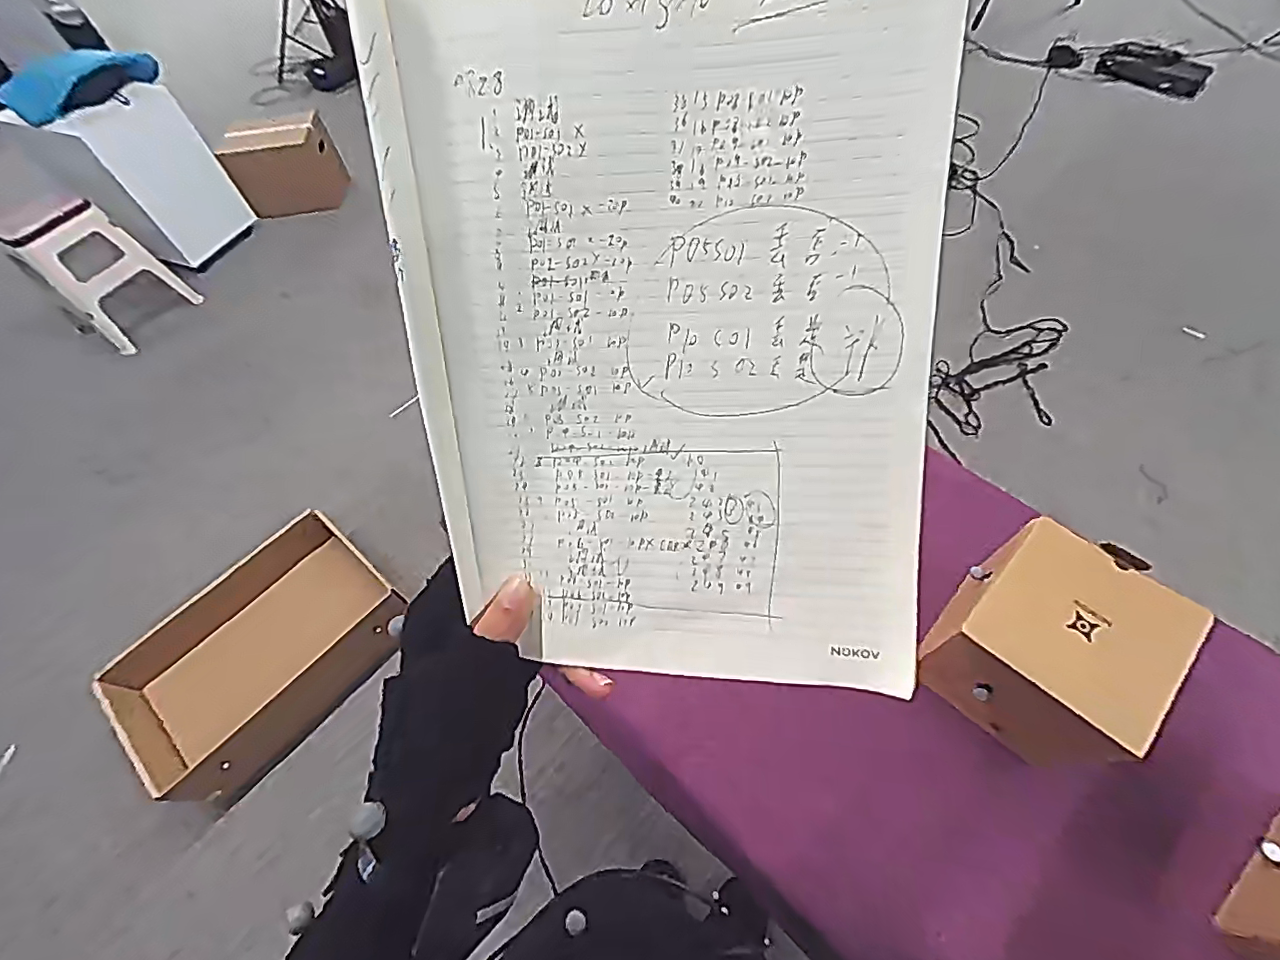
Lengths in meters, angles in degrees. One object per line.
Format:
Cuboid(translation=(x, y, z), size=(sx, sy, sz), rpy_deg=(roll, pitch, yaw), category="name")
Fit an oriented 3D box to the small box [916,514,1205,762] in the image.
Cuboid(translation=(0.435, 0.179, 0.594), size=(0.168, 0.176, 0.179), rpy_deg=(38, 67, 25), category="small box")
